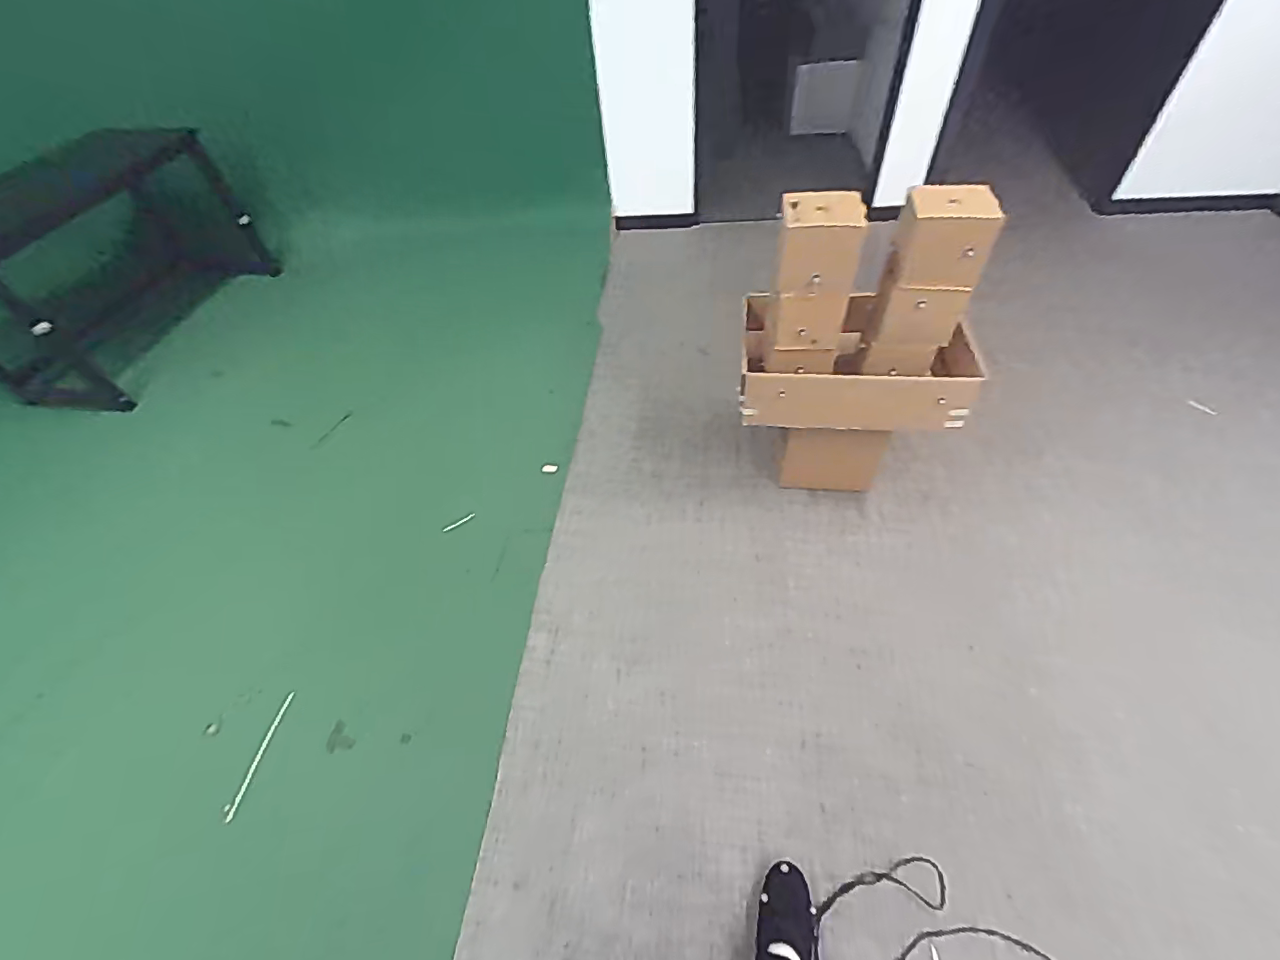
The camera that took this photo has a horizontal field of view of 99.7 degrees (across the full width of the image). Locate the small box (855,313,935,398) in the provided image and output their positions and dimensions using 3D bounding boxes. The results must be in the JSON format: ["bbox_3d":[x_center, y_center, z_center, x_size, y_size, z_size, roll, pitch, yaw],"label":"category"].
[{"bbox_3d":[0.715,-0.351,1.533,0.168,0.176,0.179,6,51,11],"label":"small box"}]

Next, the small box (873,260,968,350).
[{"bbox_3d":[0.715,-0.454,1.404,0.179,0.176,0.168,6,51,10],"label":"small box"}]

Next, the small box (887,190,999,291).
[{"bbox_3d":[0.709,-0.565,1.285,0.179,0.176,0.168,5,50,10],"label":"small box"}]

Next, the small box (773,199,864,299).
[{"bbox_3d":[0.423,-0.556,1.308,0.179,0.176,0.168,4,50,8],"label":"small box"}]
